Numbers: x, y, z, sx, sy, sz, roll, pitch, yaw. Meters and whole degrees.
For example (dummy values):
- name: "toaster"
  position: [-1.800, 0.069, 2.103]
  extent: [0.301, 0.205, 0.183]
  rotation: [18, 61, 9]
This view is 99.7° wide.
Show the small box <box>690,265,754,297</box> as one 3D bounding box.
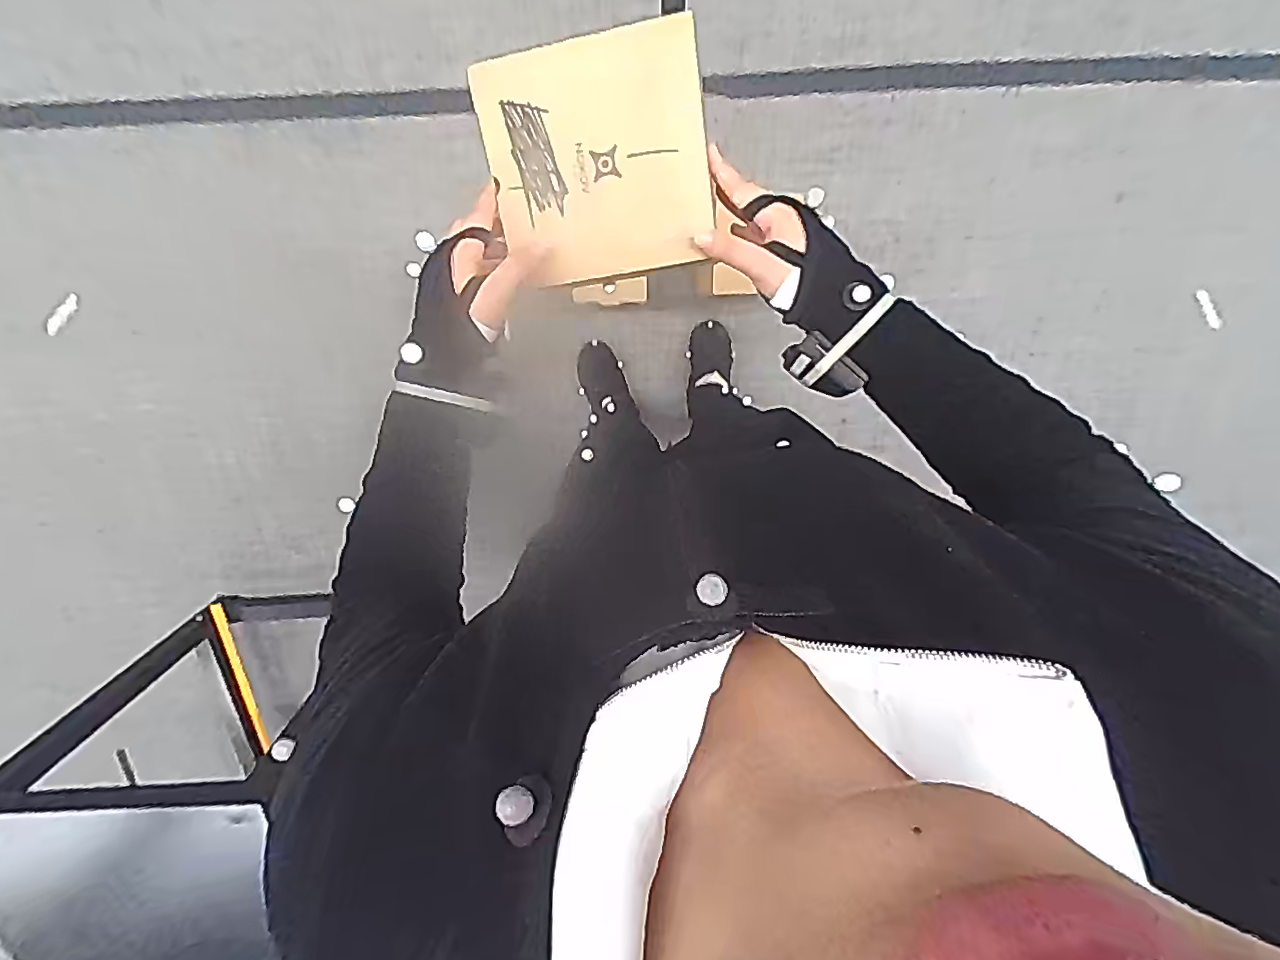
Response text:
- name: "small box"
  position: [0.214, -0.520, 1.257]
  extent: [0.179, 0.176, 0.168]
  rotation: [-3, 111, -1]

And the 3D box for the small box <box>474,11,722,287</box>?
- name: "small box"
  position: [-0.020, -0.273, 0.492]
  extent: [0.179, 0.176, 0.168]
  rotation: [-5, 110, 10]

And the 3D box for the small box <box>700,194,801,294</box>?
- name: "small box"
  position: [0.215, -0.473, 1.100]
  extent: [0.168, 0.176, 0.179]
  rotation: [-1, 112, -1]

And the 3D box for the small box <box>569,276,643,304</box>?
- name: "small box"
  position: [-0.074, -0.505, 1.251]
  extent: [0.168, 0.176, 0.179]
  rotation: [0, 111, -1]
